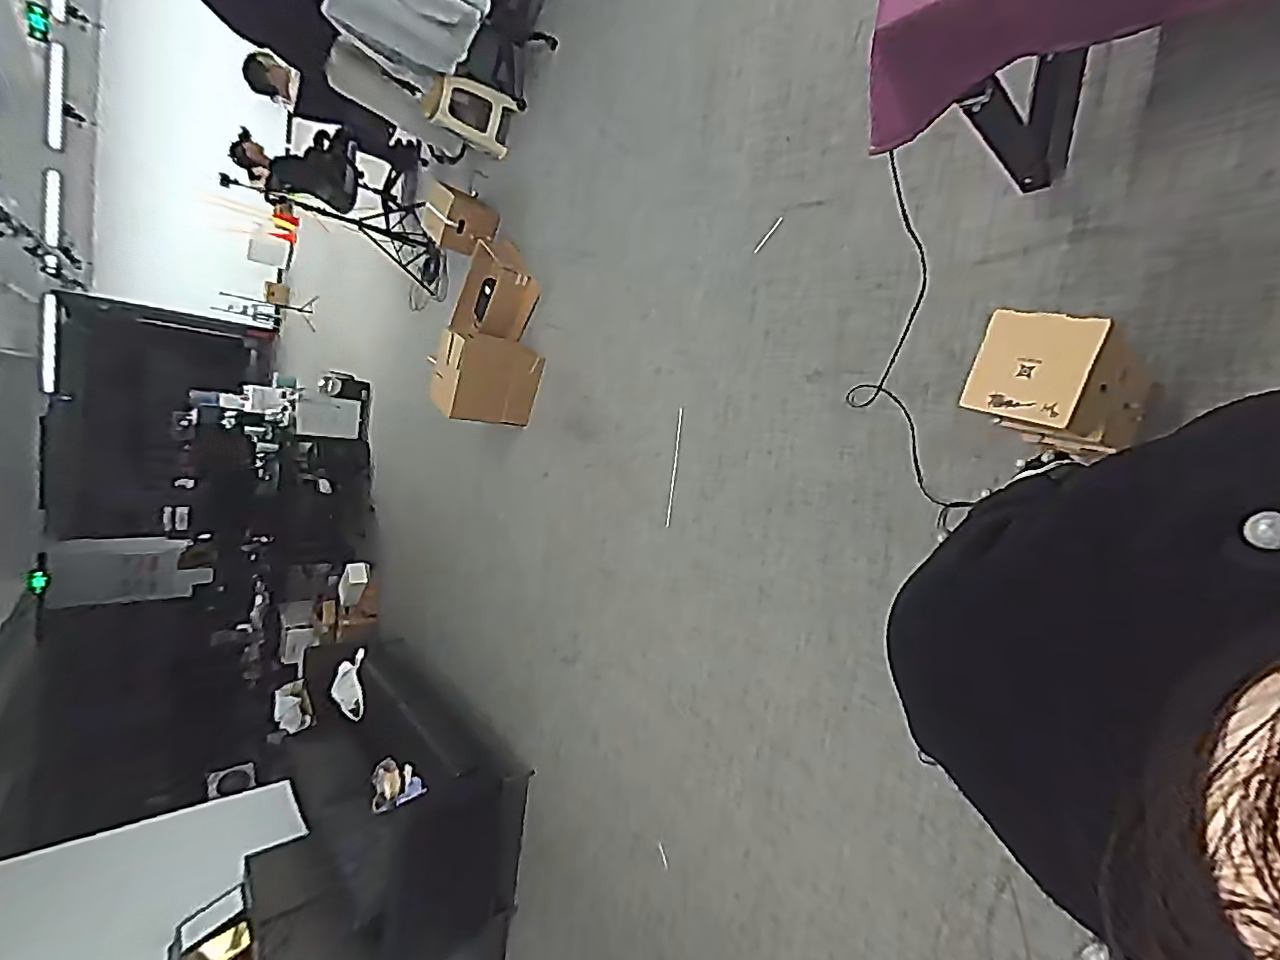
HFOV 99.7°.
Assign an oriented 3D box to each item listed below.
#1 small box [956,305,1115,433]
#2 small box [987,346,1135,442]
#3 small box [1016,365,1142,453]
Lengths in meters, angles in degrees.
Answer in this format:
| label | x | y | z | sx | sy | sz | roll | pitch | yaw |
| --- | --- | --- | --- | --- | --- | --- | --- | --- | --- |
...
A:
| label | x | y | z | sx | sy | sz | roll | pitch | yaw |
| --- | --- | --- | --- | --- | --- | --- | --- | --- | --- |
| small box | 0.701 | -0.192 | 0.956 | 0.168 | 0.176 | 0.179 | 28 | 108 | 45 |
| small box | 0.826 | -0.173 | 1.062 | 0.179 | 0.176 | 0.168 | 23 | 105 | 45 |
| small box | 0.951 | -0.159 | 1.168 | 0.168 | 0.176 | 0.179 | 18 | 101 | 46 |
